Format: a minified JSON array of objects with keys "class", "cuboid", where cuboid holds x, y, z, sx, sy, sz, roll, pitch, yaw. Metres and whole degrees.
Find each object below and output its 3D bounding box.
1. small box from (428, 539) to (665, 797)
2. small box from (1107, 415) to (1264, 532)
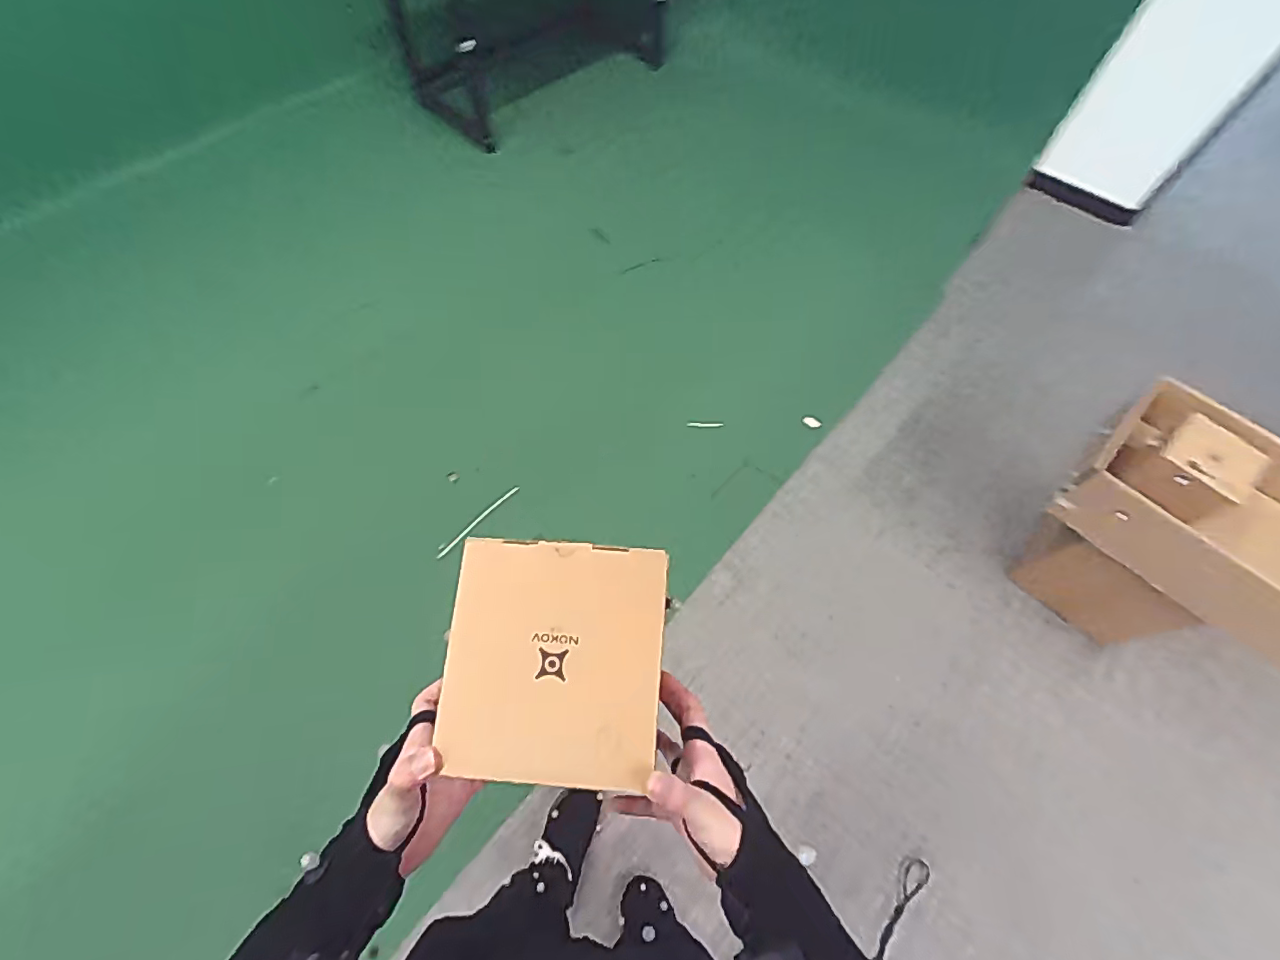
[{"class":"small box","cuboid":[-0.065,0.160,0.490,0.168,0.176,0.179,4,73,3]},{"class":"small box","cuboid":[1.250,-0.011,1.254,0.179,0.176,0.168,-39,69,-20]}]
